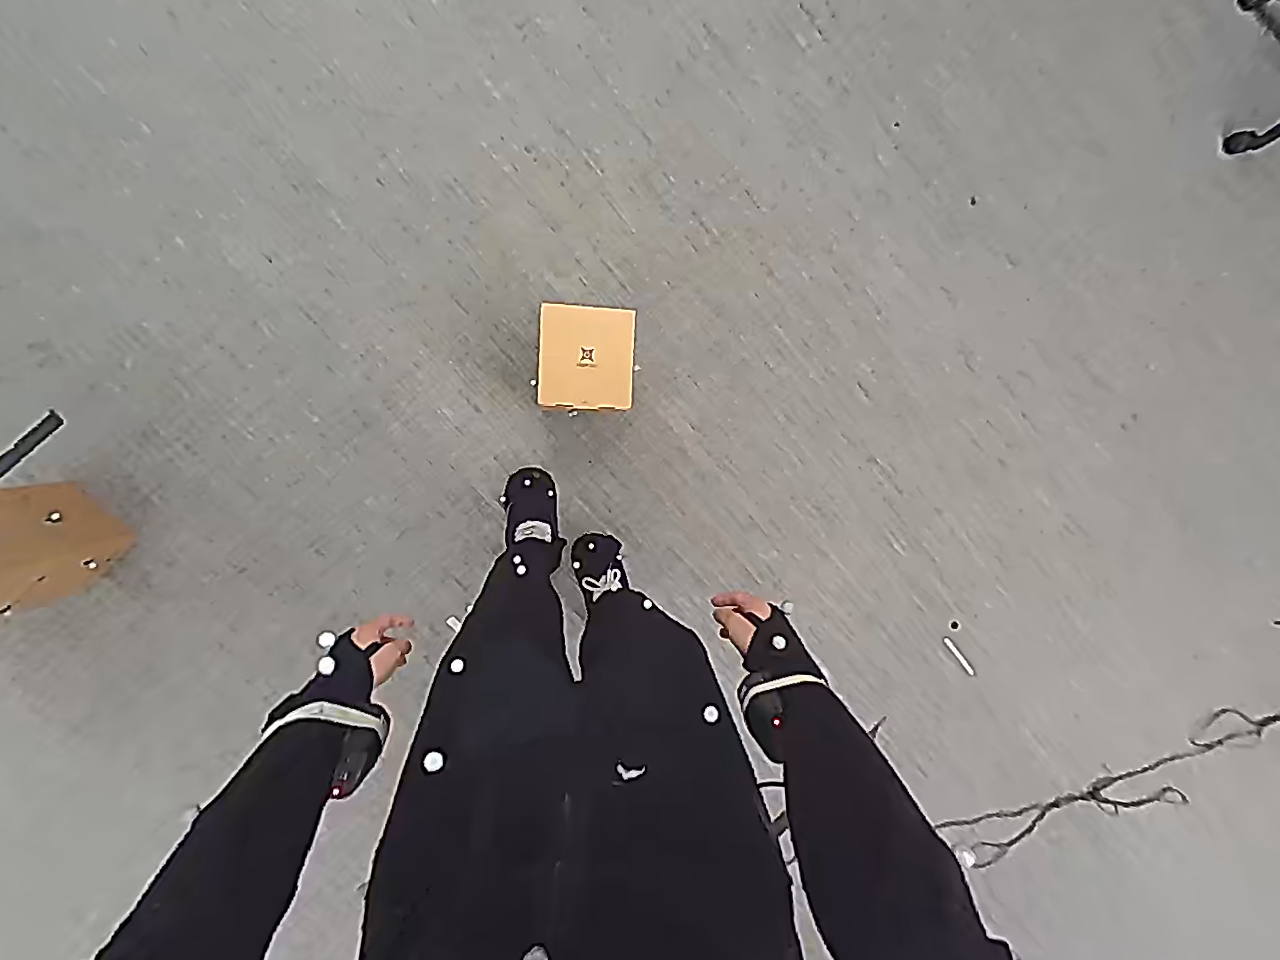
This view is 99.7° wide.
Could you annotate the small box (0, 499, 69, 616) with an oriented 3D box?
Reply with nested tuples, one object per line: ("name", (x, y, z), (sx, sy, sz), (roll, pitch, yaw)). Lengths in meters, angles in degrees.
("small box", (-1.137, 0.142, 0.894), (0.168, 0.176, 0.179), (-45, 99, -3))

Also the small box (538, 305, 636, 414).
("small box", (-0.105, -0.218, 1.020), (0.168, 0.176, 0.179), (1, 97, -10))

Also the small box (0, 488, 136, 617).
("small box", (-1.167, 0.130, 1.056), (0.179, 0.176, 0.168), (44, 87, -9))
